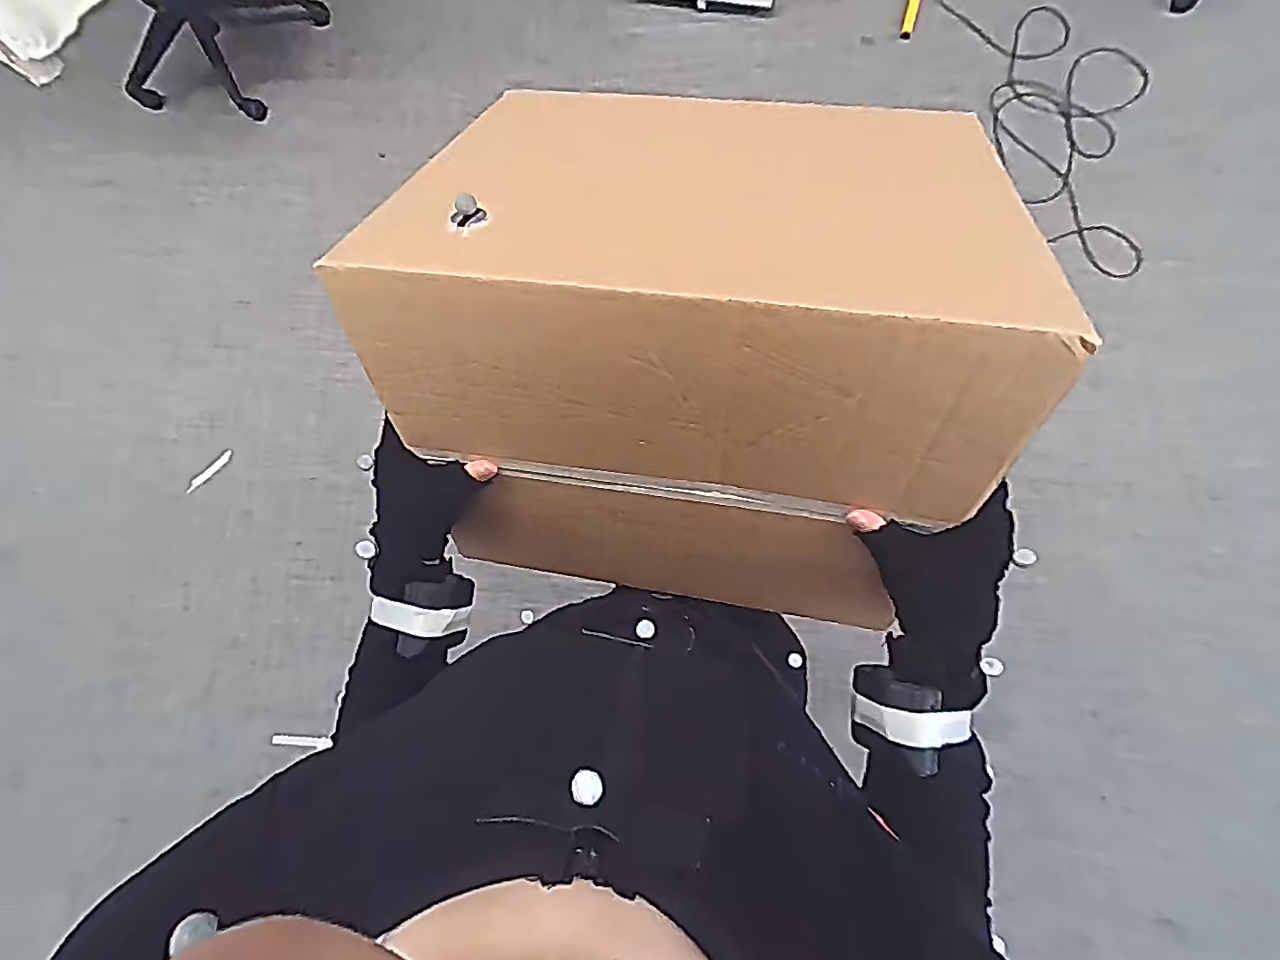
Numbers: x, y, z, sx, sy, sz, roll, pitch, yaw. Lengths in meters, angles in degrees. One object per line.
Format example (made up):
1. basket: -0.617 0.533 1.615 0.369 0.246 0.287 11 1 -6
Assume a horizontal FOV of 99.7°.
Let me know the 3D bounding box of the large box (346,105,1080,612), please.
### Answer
1. large box: 0.049 -0.117 0.494 0.408 0.320 0.320 8 52 8
